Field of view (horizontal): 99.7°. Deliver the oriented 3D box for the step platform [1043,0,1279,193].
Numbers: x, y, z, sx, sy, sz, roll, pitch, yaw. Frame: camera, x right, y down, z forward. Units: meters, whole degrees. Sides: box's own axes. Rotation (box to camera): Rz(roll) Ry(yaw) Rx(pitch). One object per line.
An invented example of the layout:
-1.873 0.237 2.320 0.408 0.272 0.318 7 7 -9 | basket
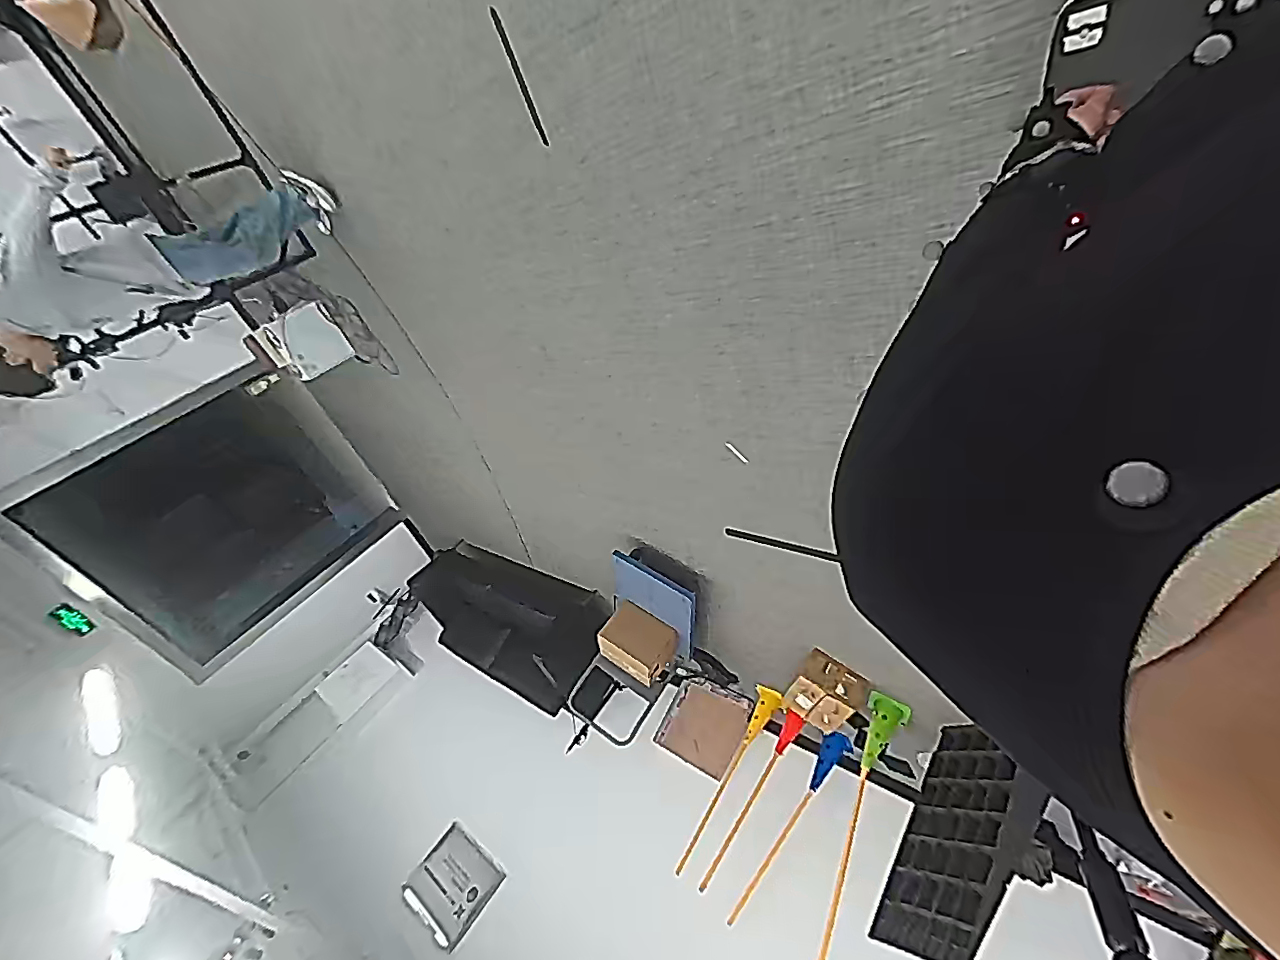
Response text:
1.024 -0.631 0.800 0.684 0.204 0.286 16 137 40 | step platform
